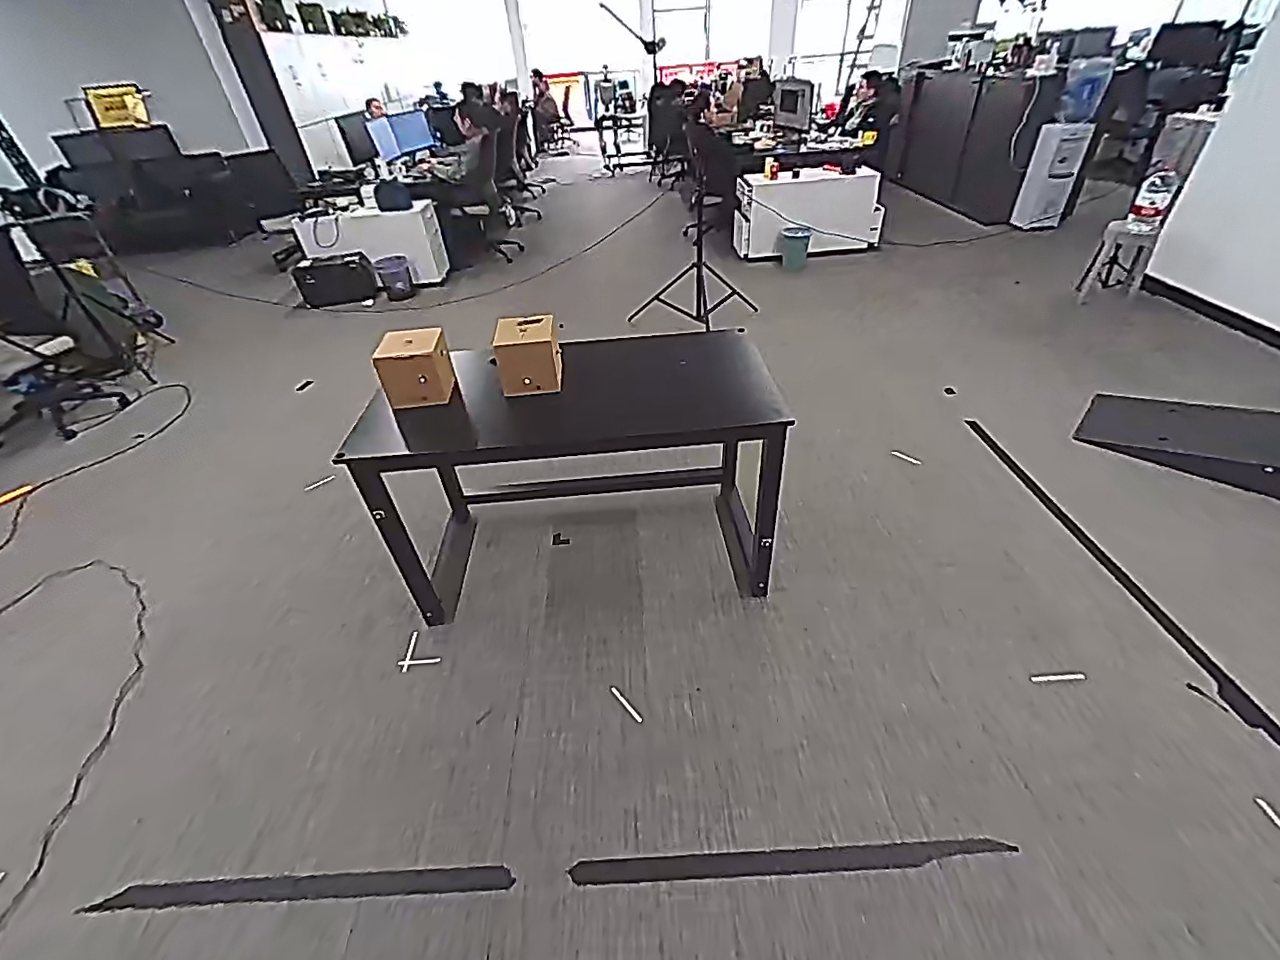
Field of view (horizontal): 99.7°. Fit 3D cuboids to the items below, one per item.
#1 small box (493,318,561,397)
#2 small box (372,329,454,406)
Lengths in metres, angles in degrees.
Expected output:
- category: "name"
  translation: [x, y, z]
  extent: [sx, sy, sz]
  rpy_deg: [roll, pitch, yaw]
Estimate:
- category: "small box"
  translation: [-0.330, -0.366, 1.612]
  extent: [0.168, 0.176, 0.179]
  rpy_deg: [-6, 40, -2]
- category: "small box"
  translation: [-0.660, -0.327, 1.595]
  extent: [0.168, 0.176, 0.179]
  rpy_deg: [-6, 38, -5]
